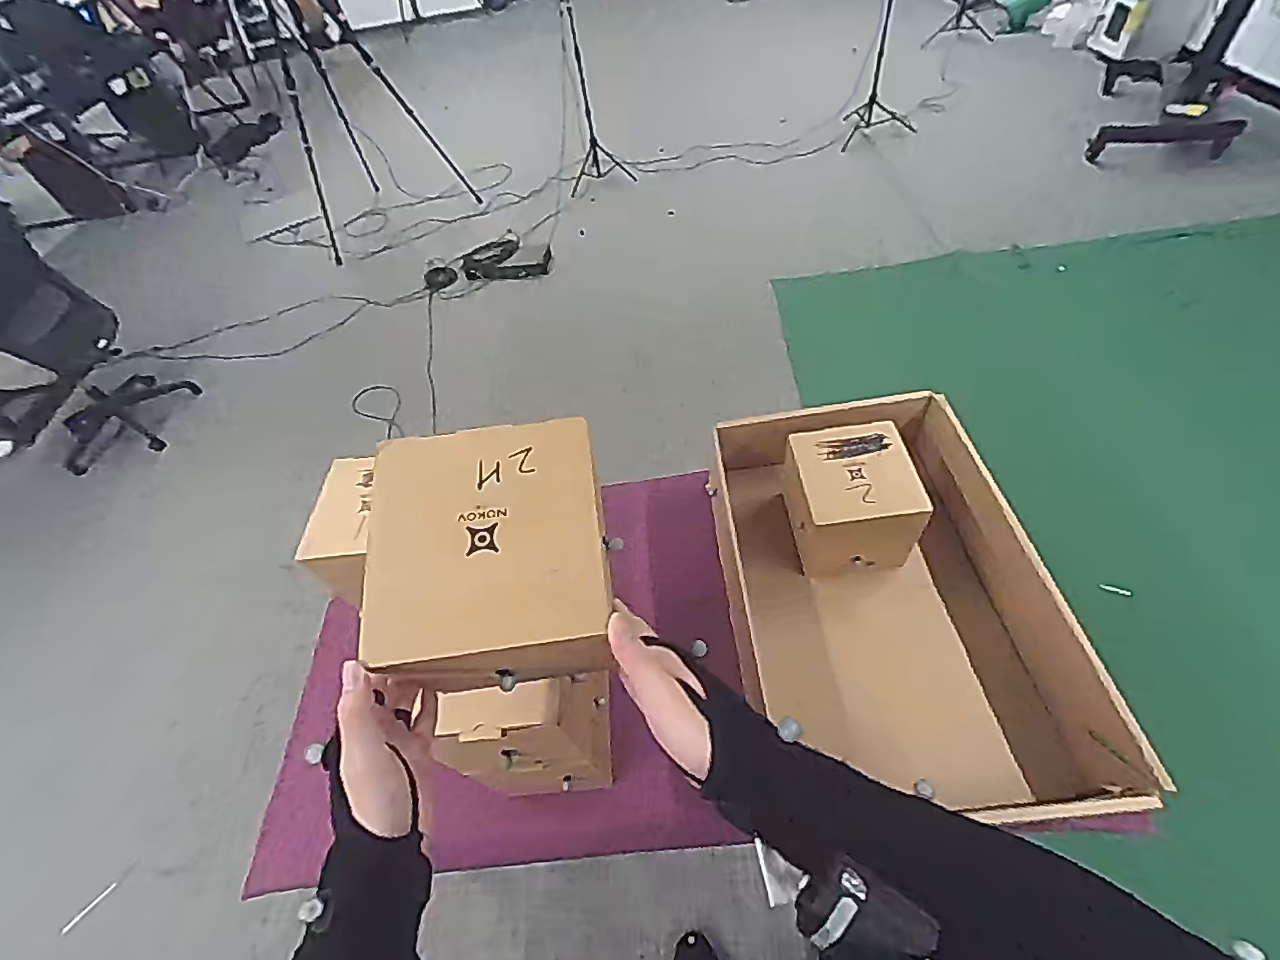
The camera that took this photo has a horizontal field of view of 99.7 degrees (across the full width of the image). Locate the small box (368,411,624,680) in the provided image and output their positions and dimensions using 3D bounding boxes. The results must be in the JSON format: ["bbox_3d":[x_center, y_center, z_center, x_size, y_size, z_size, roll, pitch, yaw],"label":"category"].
[{"bbox_3d":[-0.105,0.067,0.459,0.168,0.176,0.179,-7,63,-4],"label":"small box"}]

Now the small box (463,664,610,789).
[{"bbox_3d":[-0.138,0.339,0.787,0.168,0.176,0.179,-7,50,3],"label":"small box"}]

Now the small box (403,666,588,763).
[{"bbox_3d":[-0.159,0.236,0.662,0.168,0.176,0.179,-7,52,3],"label":"small box"}]

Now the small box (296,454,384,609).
[{"bbox_3d":[-0.366,0.077,0.821,0.168,0.176,0.179,-6,52,6],"label":"small box"}]
